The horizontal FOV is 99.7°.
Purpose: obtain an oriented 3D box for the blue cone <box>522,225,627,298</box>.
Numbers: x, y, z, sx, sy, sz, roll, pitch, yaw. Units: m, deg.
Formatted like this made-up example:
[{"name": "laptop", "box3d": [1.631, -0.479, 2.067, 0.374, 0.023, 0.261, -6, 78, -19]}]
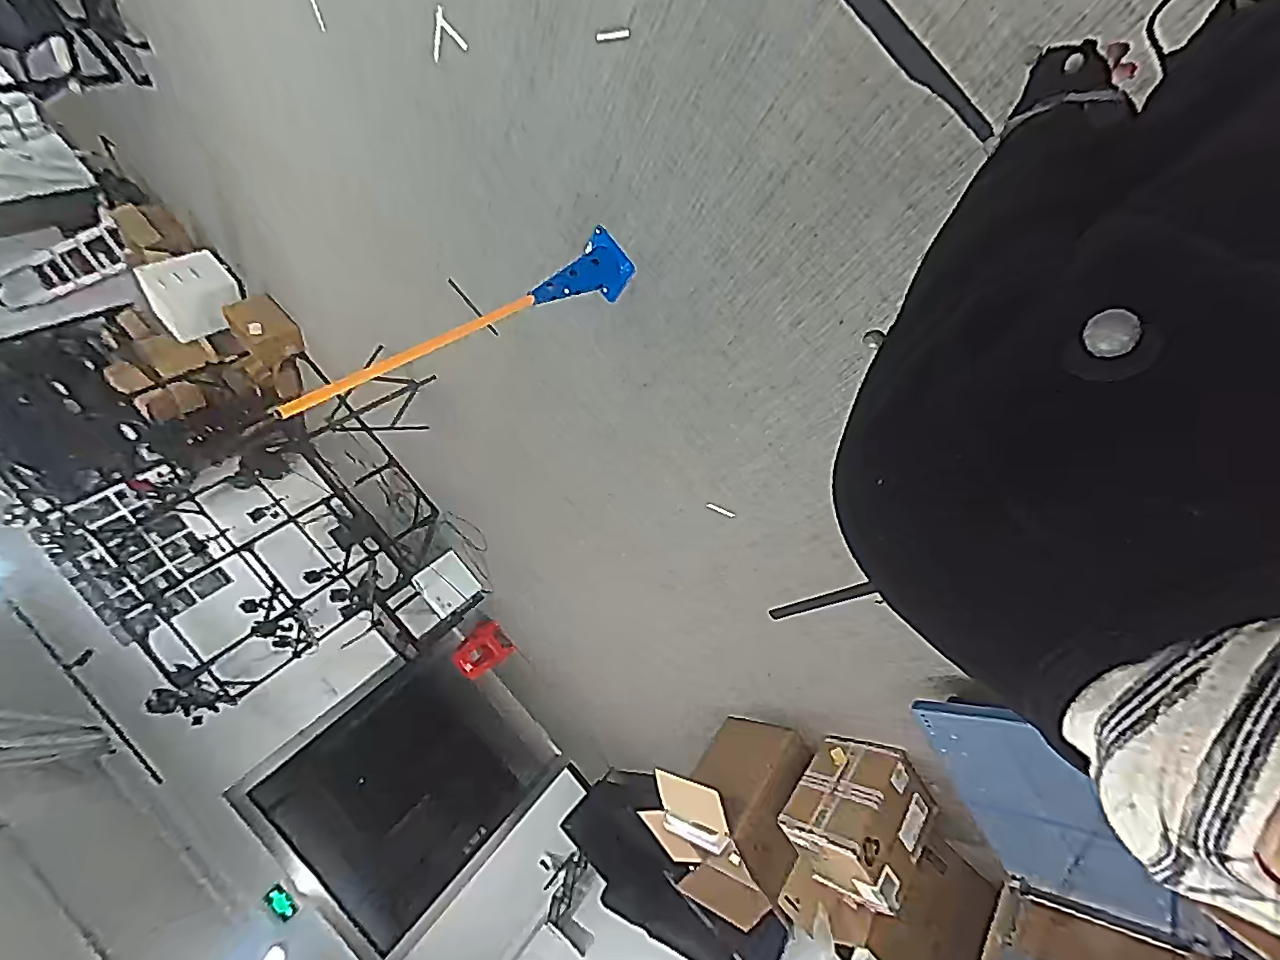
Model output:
[{"name": "blue cone", "box3d": [-0.237, -0.682, 1.814, 0.192, 0.380, 0.193, 52, 145, -2]}]
